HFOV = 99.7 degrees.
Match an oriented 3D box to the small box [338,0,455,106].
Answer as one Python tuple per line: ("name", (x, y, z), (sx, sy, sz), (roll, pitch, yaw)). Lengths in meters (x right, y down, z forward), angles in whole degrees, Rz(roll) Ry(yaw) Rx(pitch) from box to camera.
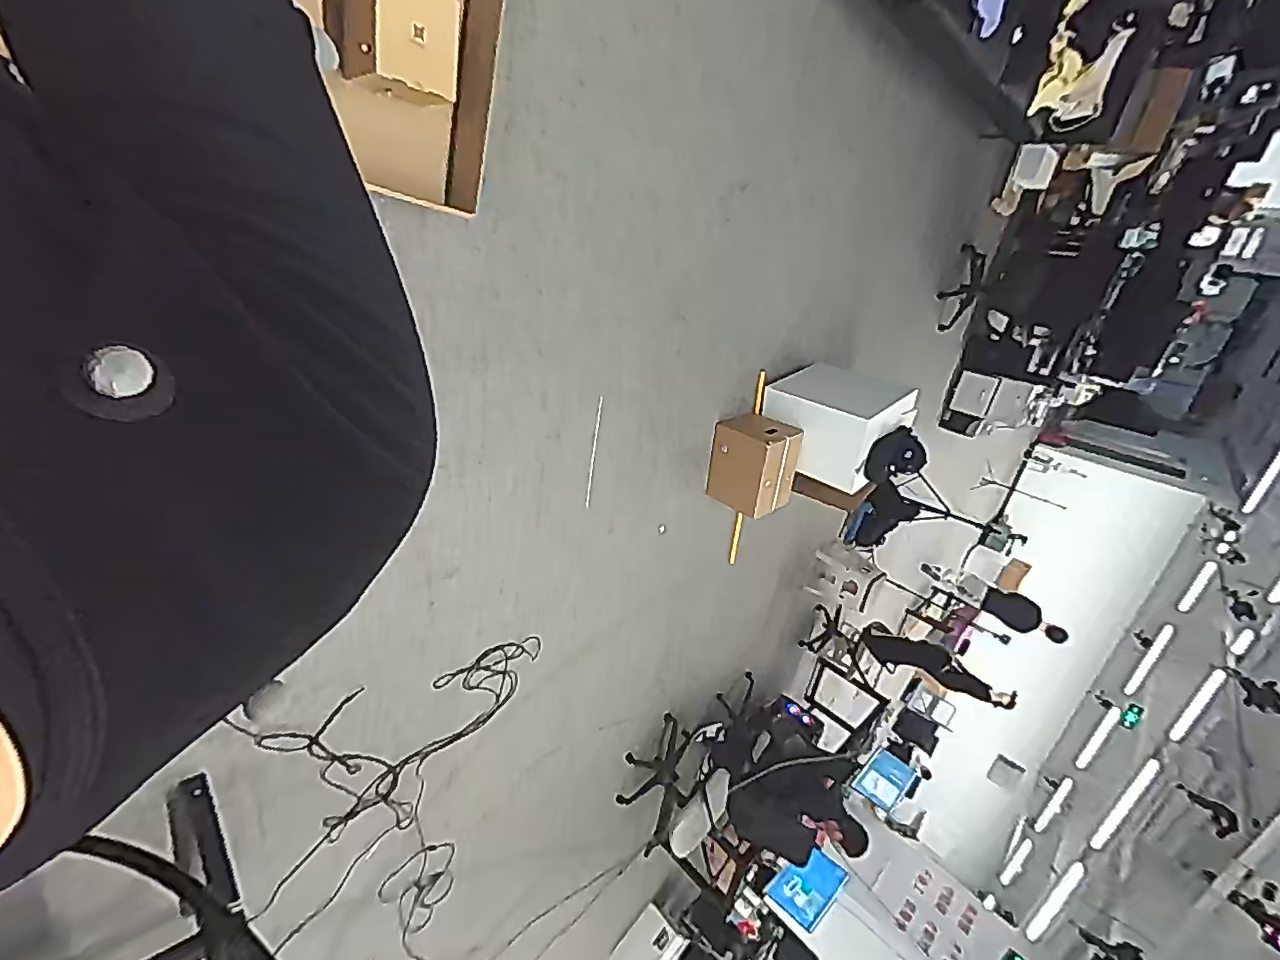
("small box", (-0.496, -0.888, 1.097), (0.168, 0.176, 0.179), (-13, 121, -45))
